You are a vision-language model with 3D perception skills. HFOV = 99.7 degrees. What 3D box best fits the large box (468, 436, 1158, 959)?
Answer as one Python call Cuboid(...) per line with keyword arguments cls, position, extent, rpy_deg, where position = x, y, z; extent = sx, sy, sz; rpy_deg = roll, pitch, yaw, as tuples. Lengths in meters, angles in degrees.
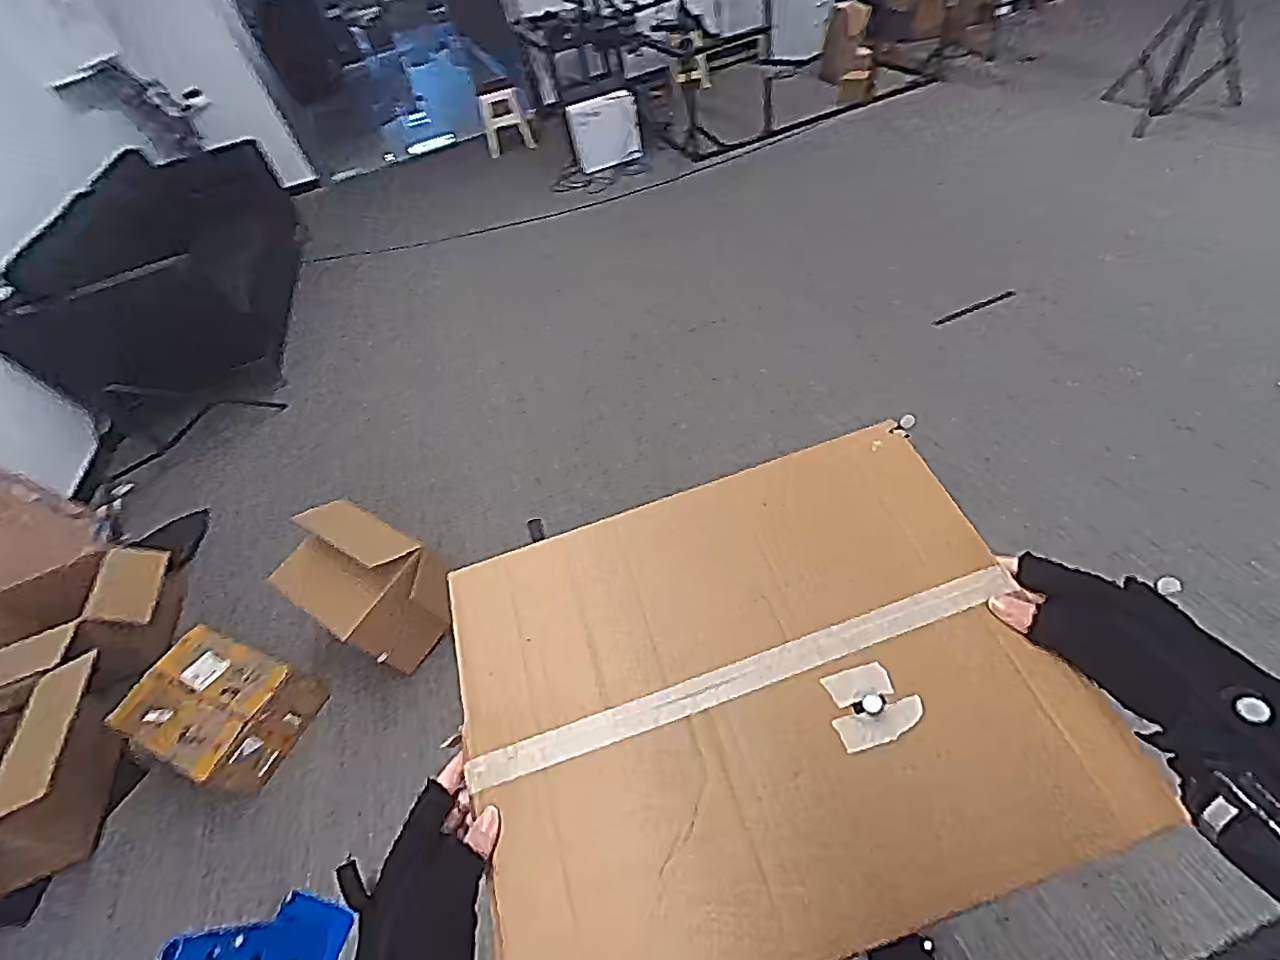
Cuboid(cls="large box", position=(0.102, 0.223, 0.519), extent=(0.408, 0.320, 0.320), rpy_deg=(-19, 58, -3))
